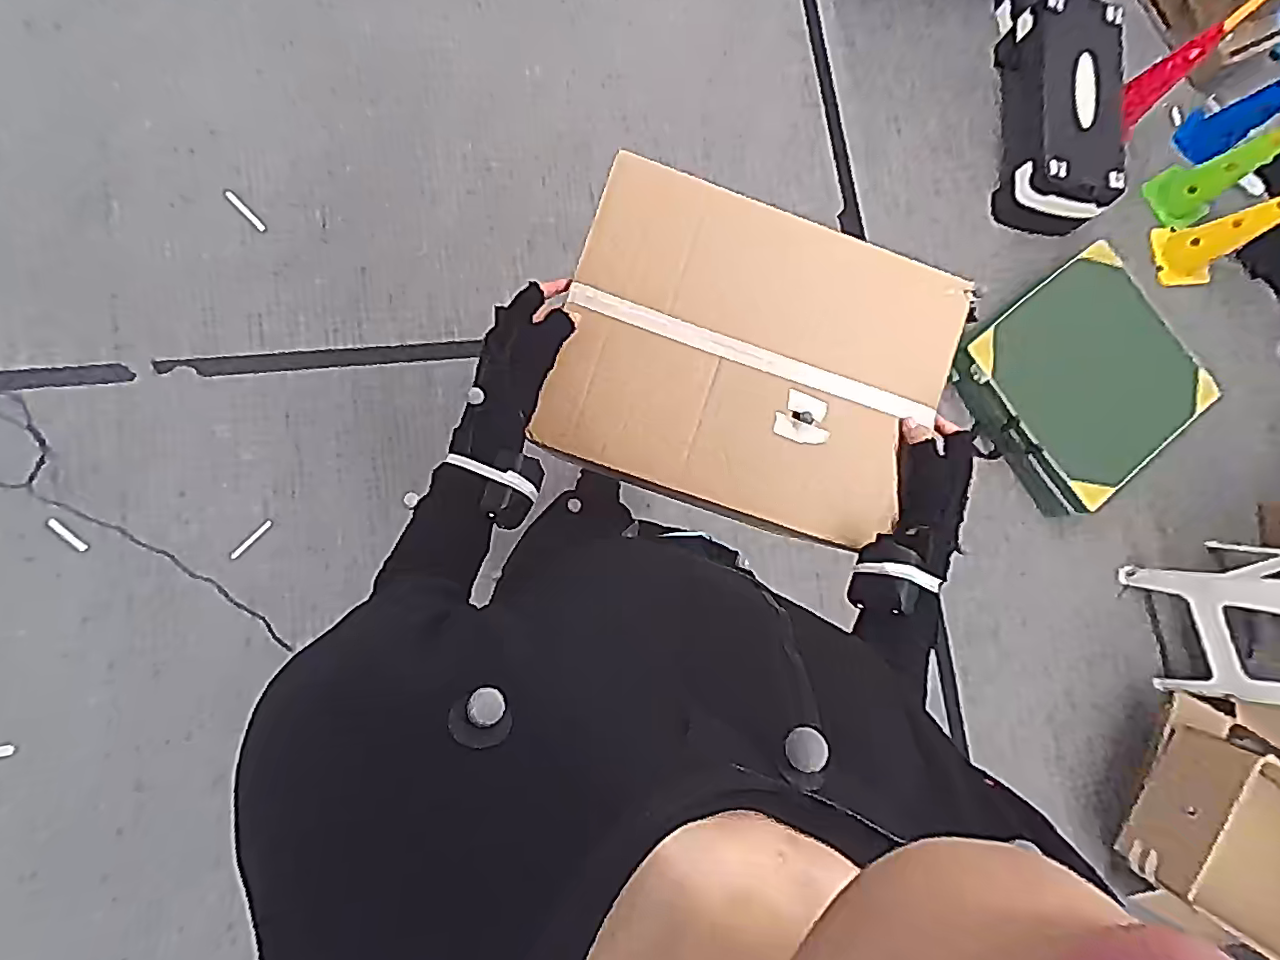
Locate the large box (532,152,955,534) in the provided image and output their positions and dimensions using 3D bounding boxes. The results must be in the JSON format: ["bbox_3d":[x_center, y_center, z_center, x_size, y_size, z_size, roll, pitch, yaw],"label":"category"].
[{"bbox_3d":[0.104,-0.143,0.727,0.408,0.320,0.320,19,89,-5],"label":"large box"}]
